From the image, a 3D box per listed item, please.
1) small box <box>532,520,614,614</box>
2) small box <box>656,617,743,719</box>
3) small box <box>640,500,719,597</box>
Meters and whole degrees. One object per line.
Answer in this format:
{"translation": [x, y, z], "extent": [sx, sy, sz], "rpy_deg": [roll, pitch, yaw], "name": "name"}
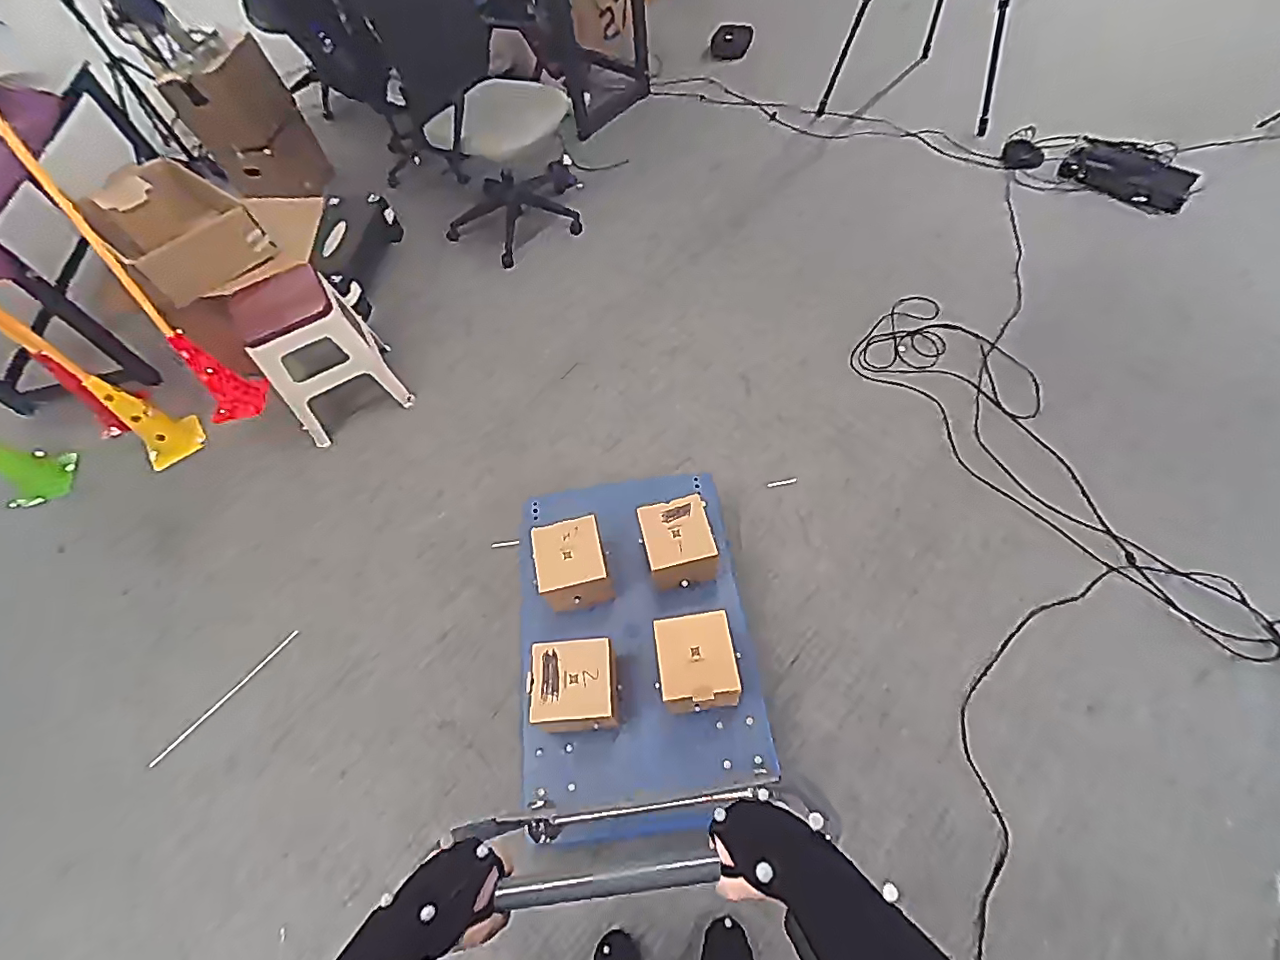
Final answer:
{"translation": [-0.168, 0.230, 1.380], "extent": [0.168, 0.176, 0.179], "rpy_deg": [-12, 58, -3], "name": "small box"}
{"translation": [0.129, 0.430, 1.230], "extent": [0.168, 0.176, 0.179], "rpy_deg": [-9, 59, 0], "name": "small box"}
{"translation": [0.098, 0.179, 1.386], "extent": [0.168, 0.176, 0.179], "rpy_deg": [-13, 59, -2], "name": "small box"}
